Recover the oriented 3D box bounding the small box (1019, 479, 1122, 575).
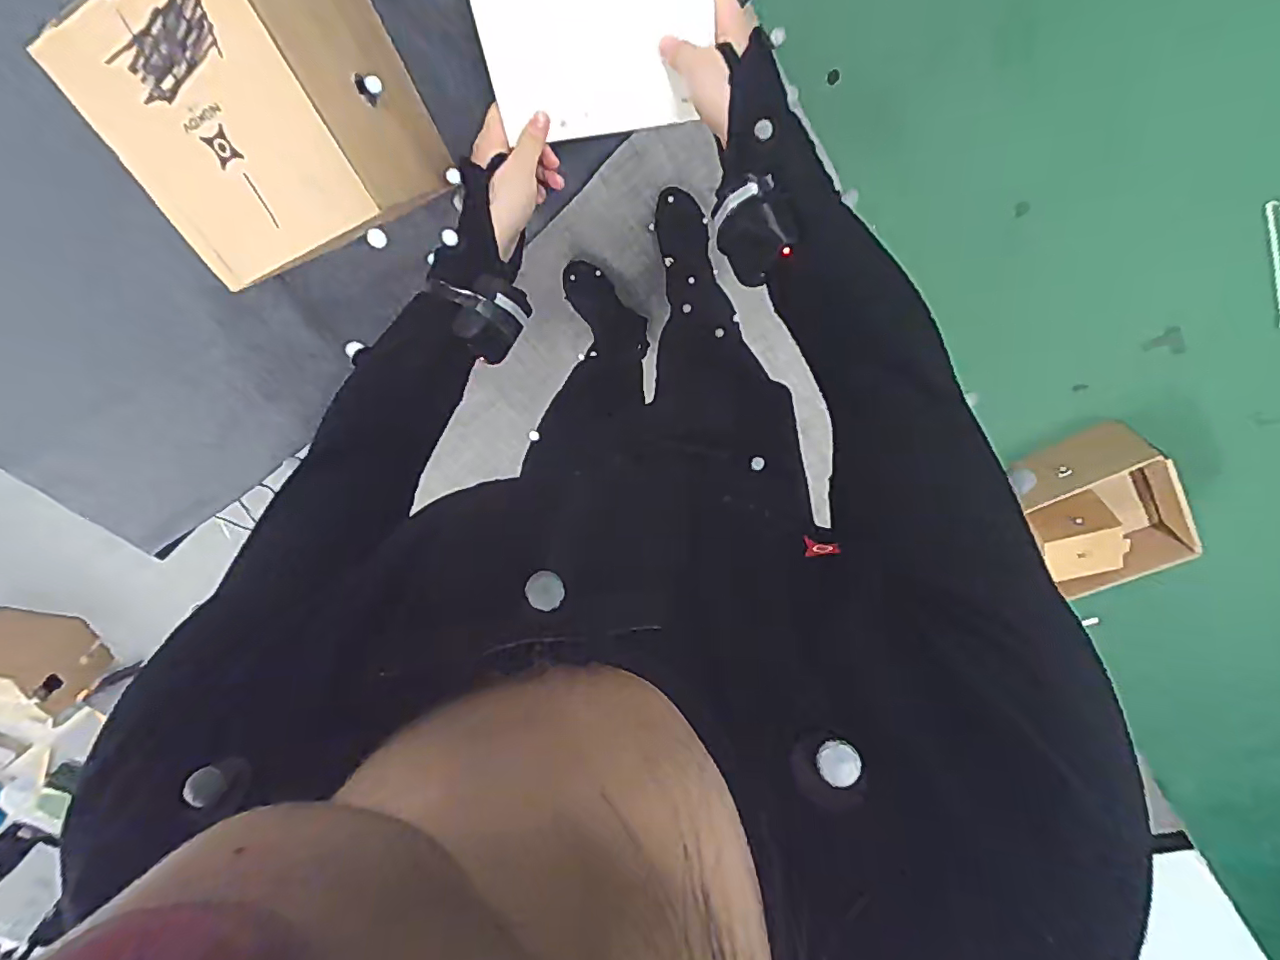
[{"bbox_3d":[1.157,0.127,1.466,0.179,0.176,0.168,-19,124,20],"label":"small box"}]

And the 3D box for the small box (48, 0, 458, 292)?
[{"bbox_3d":[-0.288,-0.290,0.450,0.168,0.176,0.179,-16,124,18],"label":"small box"}]
